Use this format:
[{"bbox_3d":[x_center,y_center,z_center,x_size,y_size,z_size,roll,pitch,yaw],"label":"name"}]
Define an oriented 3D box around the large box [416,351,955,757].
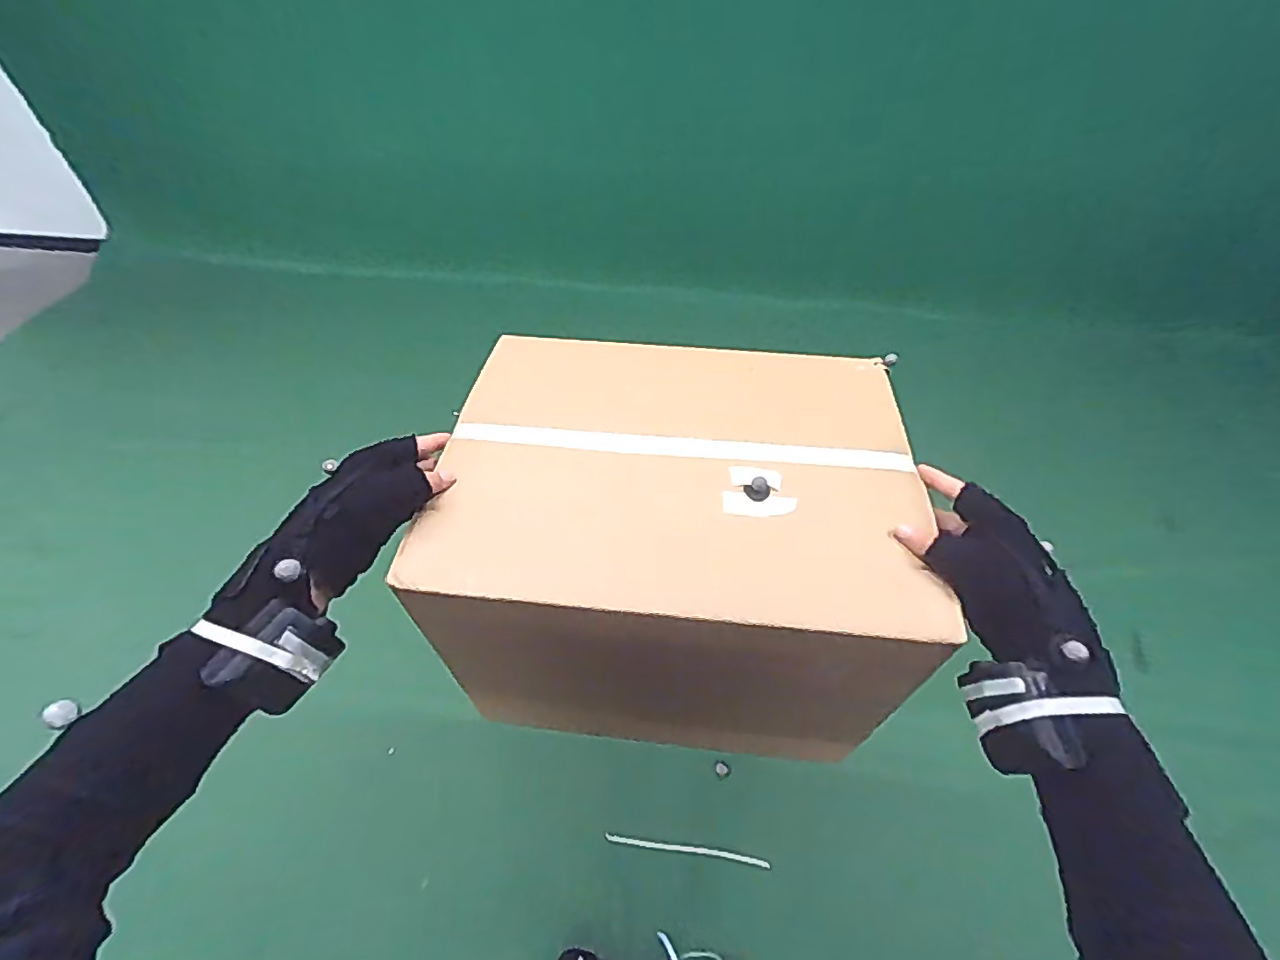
[{"bbox_3d":[0.038,0.083,0.599,0.408,0.320,0.320,5,49,3],"label":"large box"}]
